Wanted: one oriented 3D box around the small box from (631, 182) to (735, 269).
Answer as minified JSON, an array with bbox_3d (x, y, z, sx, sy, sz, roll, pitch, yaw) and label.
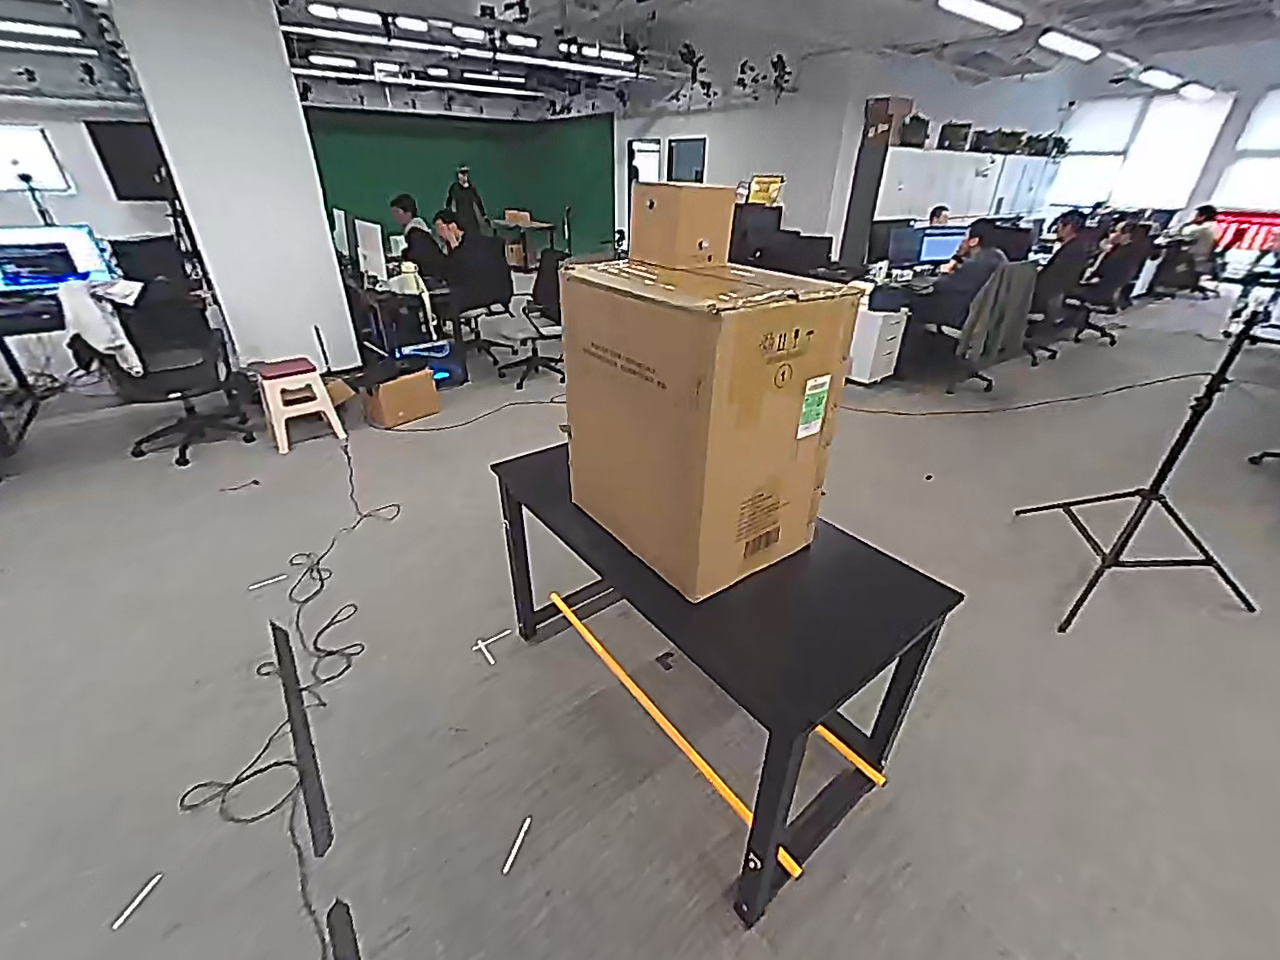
[{"bbox_3d":[0.092,-0.587,1.248,0.168,0.176,0.179,-19,36,-33],"label":"small box"}]
